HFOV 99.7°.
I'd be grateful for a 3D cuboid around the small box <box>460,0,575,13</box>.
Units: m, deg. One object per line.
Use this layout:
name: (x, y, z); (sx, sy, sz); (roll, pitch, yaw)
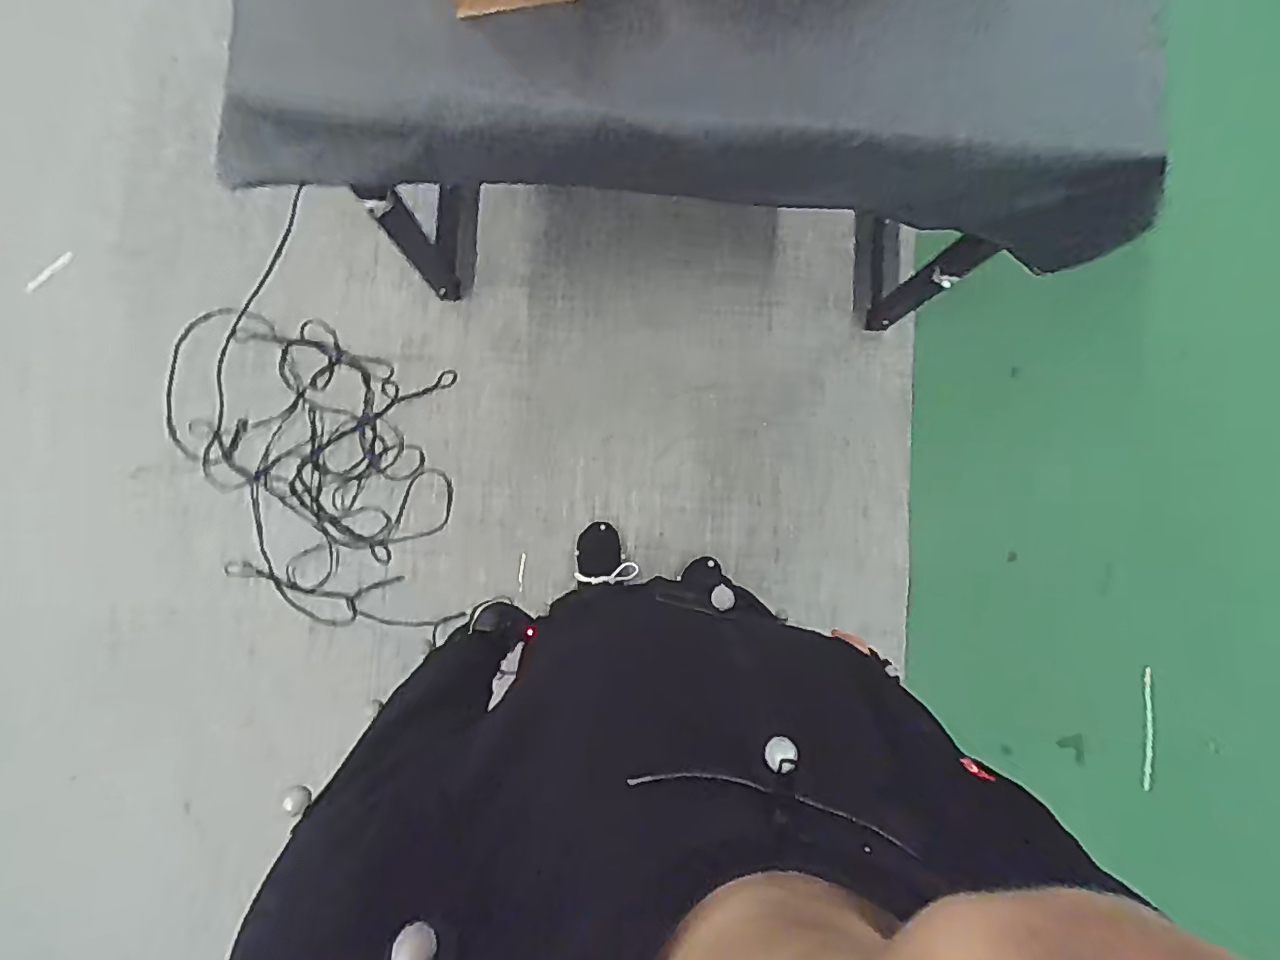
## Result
small box: (-0.159, -0.687, 0.607); (0.168, 0.176, 0.179); (-12, 87, -4)
